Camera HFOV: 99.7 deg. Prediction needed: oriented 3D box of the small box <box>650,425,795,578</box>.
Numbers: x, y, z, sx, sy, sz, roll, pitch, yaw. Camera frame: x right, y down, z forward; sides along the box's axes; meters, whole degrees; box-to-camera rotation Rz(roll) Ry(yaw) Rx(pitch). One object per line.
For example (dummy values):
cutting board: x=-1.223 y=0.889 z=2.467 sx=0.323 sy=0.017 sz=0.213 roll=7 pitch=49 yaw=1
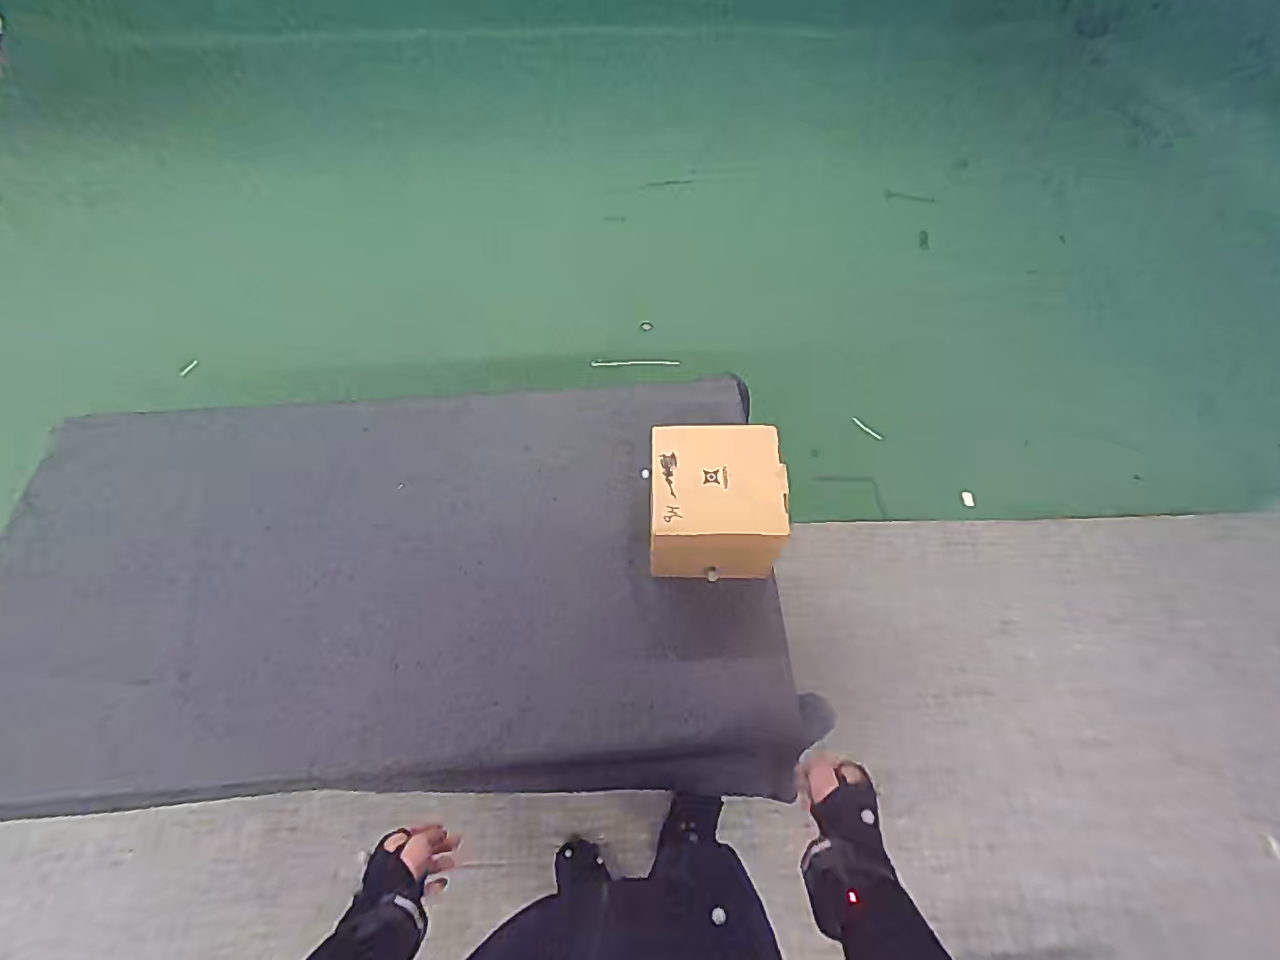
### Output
small box: x=0.107 y=0.037 z=0.778 sx=0.179 sy=0.176 sz=0.168 roll=1 pitch=62 yaw=0
